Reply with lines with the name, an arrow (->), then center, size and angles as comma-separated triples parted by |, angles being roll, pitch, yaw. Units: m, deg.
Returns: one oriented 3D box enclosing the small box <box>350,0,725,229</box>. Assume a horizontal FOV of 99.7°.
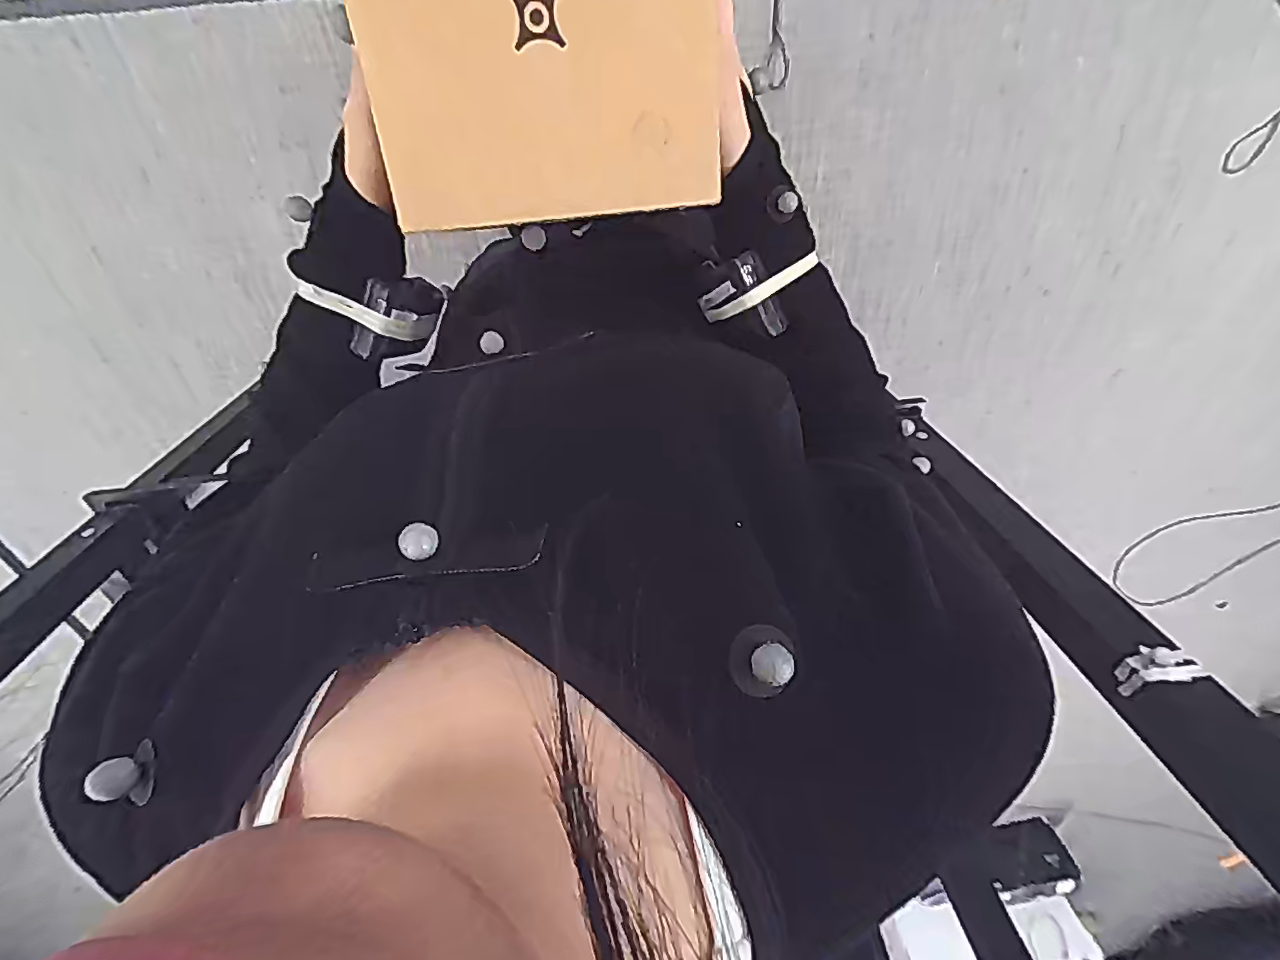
small box -> -0.051, -0.246, 0.307 | 0.168, 0.176, 0.179 | -7, 115, -4
